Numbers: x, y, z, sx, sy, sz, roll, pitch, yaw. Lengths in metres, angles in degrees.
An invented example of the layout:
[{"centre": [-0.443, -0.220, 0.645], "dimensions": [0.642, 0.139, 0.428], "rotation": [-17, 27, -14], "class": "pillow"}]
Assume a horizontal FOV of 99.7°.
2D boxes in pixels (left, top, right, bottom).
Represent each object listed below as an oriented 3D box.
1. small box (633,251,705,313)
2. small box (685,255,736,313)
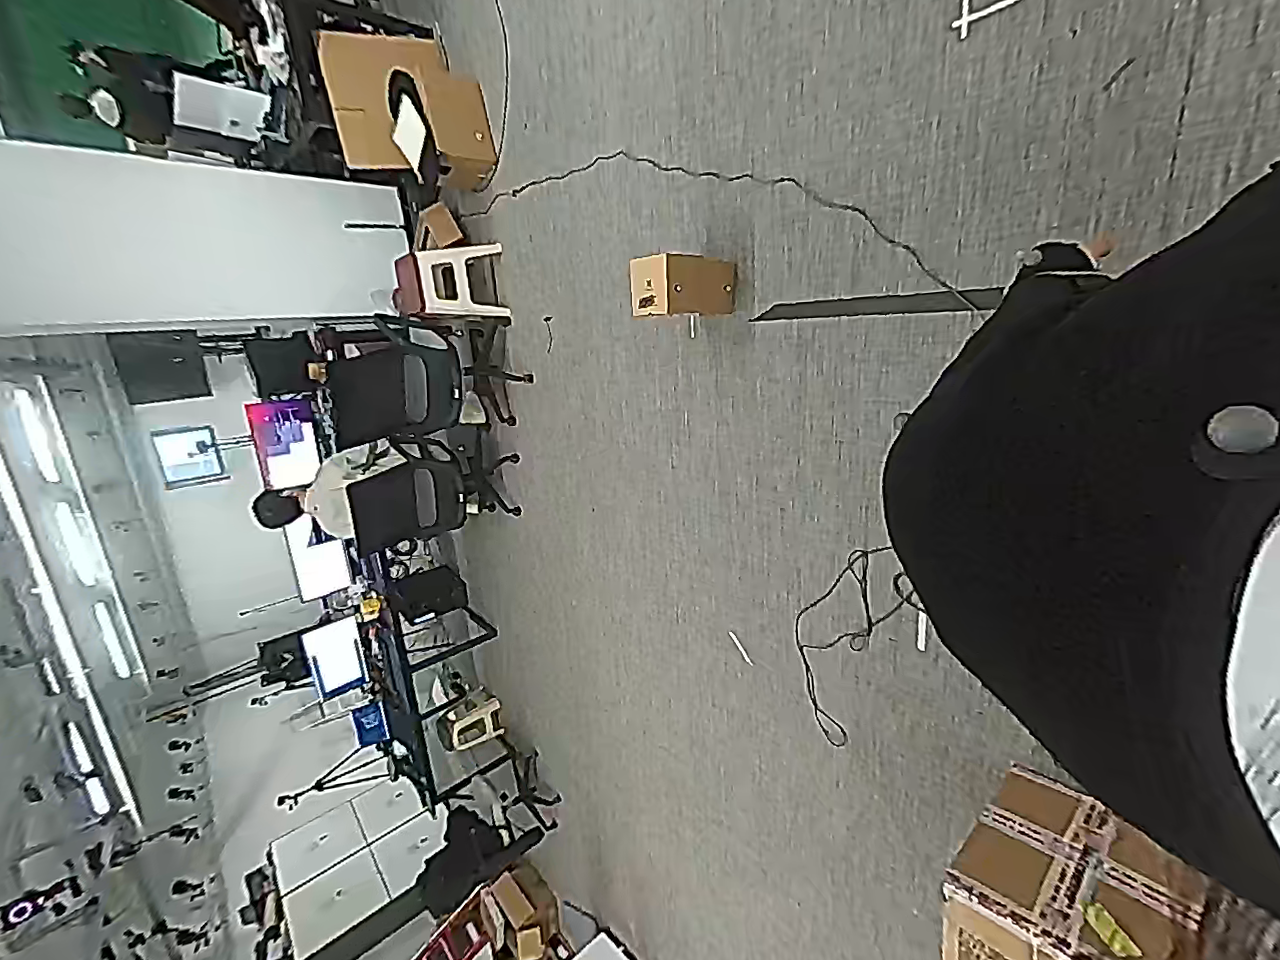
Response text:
[{"centre": [0.096, -0.631, 1.729], "dimensions": [0.168, 0.176, 0.179], "rotation": [15, 114, 47], "class": "small box"}, {"centre": [0.211, -0.667, 1.844], "dimensions": [0.168, 0.176, 0.179], "rotation": [23, 119, 44], "class": "small box"}]
